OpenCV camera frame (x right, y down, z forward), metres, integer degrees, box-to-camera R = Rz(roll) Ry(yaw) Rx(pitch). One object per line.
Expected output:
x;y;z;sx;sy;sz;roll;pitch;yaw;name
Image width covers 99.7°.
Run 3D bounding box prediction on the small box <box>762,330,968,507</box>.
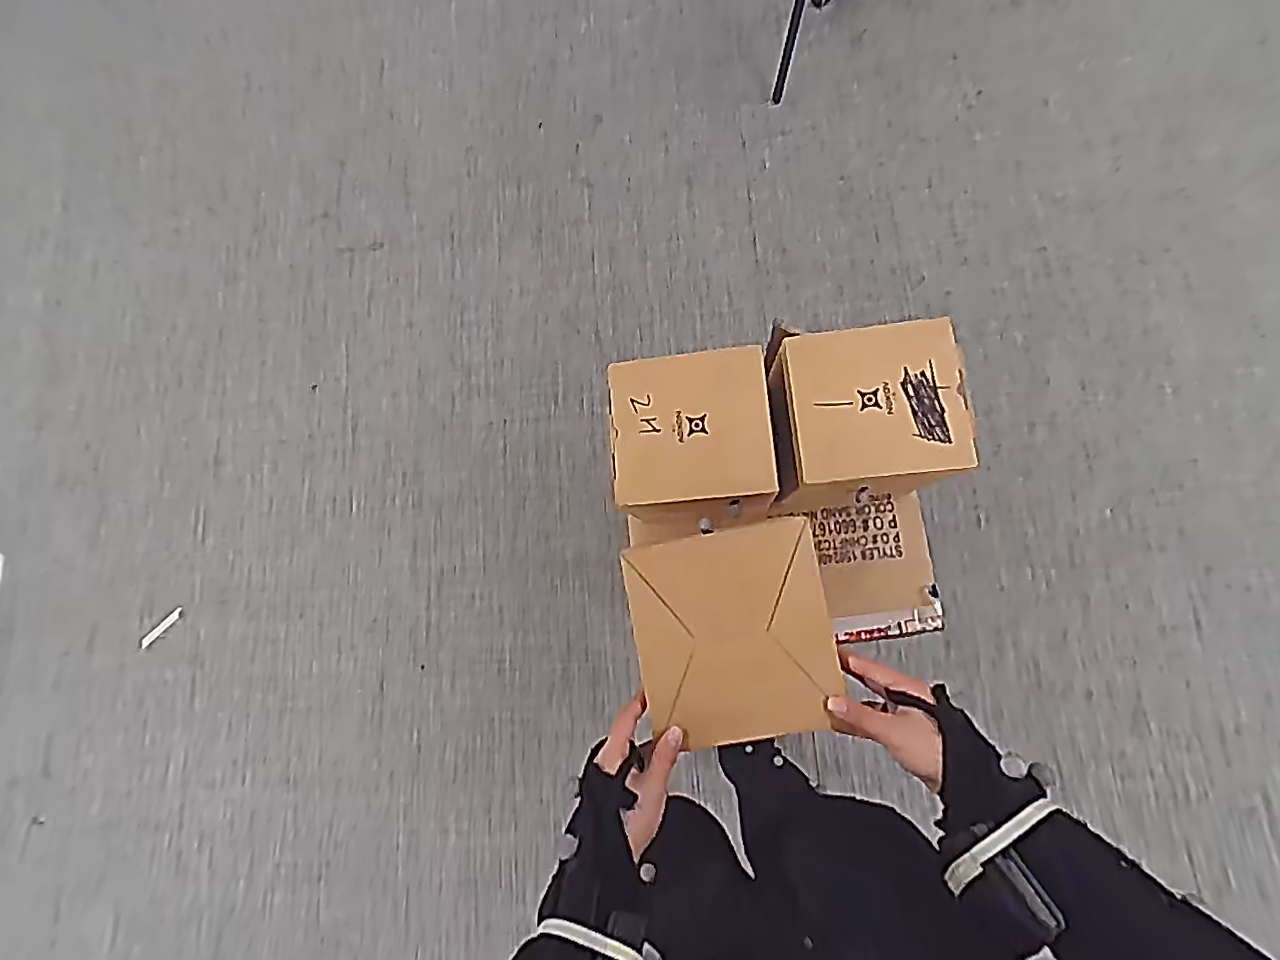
0.253;-0.062;0.652;0.179;0.176;0.168;-6;80;5;small box
